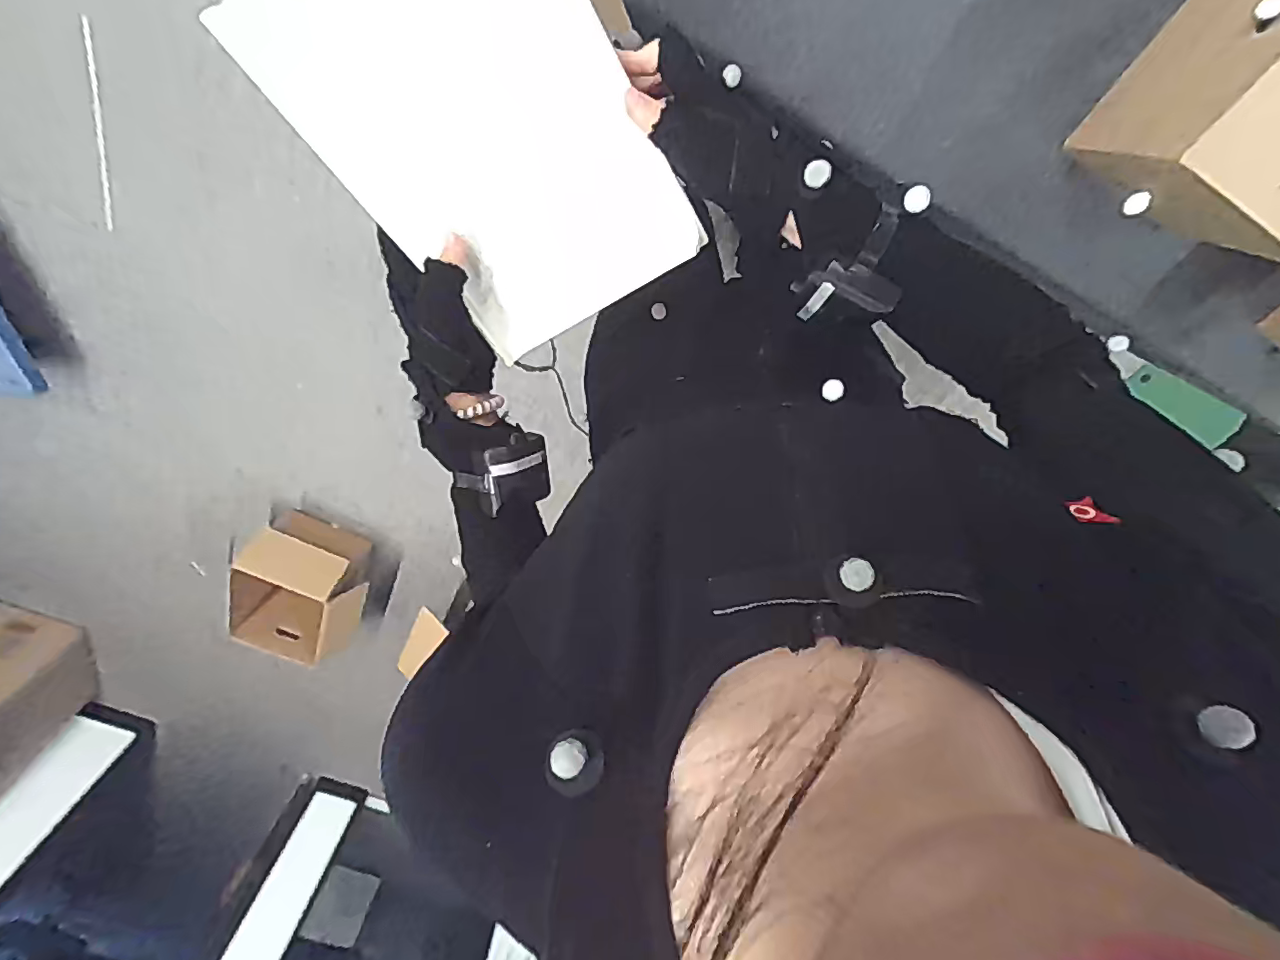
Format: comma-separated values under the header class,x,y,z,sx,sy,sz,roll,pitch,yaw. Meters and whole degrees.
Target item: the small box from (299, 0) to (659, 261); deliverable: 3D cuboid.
class,x,y,z,sx,sy,sz,roll,pitch,yaw
small box,-0.096,-0.304,0.415,0.168,0.176,0.179,-17,122,21
